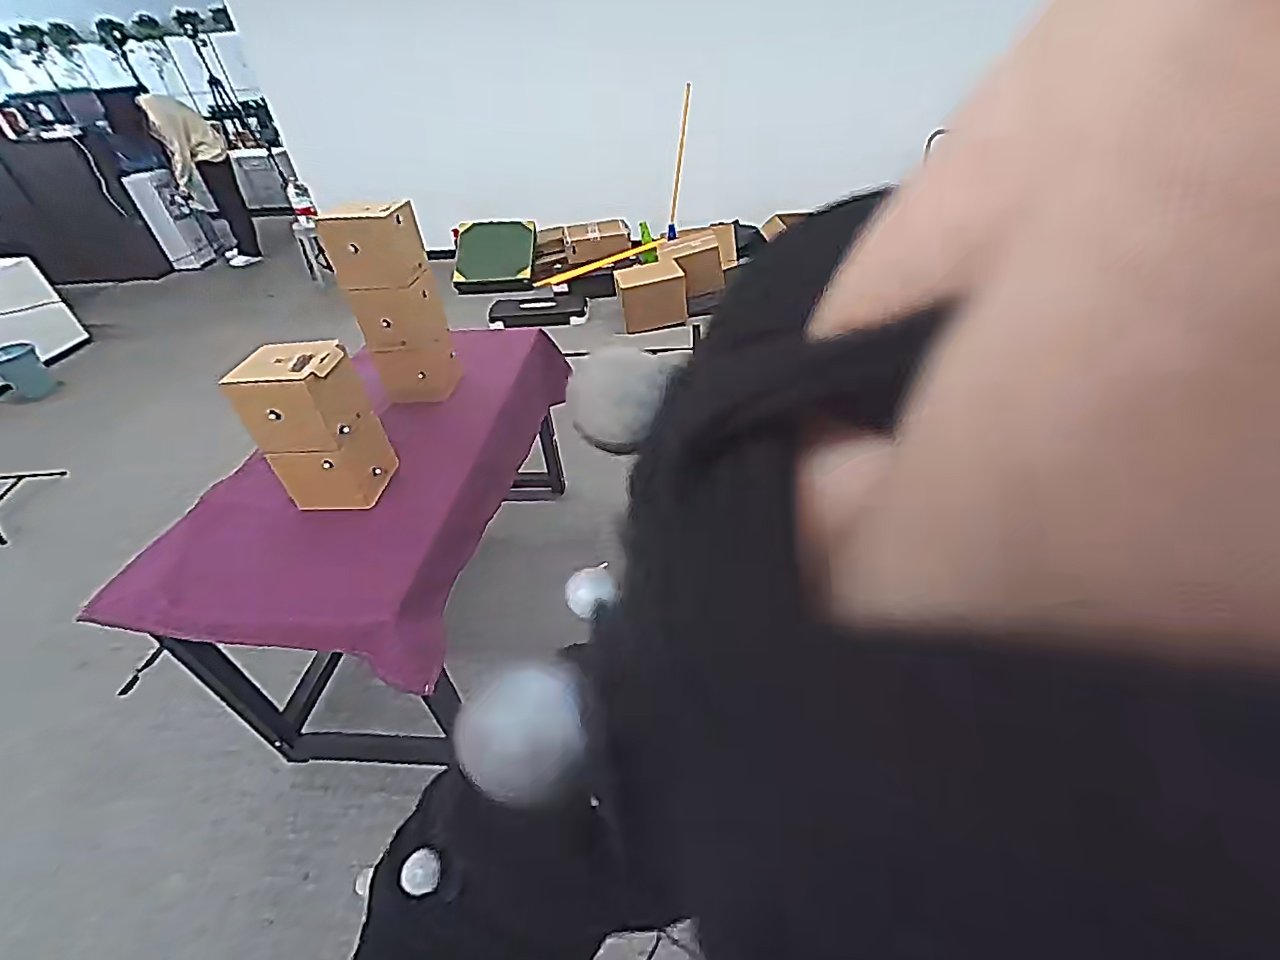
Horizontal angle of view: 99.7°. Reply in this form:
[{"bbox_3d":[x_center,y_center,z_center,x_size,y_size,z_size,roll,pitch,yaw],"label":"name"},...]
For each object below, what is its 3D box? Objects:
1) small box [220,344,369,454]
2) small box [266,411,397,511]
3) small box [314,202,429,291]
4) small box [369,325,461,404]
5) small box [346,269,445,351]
[{"bbox_3d":[-0.704,-0.167,1.130,0.179,0.176,0.168,-2,40,3],"label":"small box"},{"bbox_3d":[-0.692,-0.042,1.237,0.179,0.176,0.168,-1,40,4],"label":"small box"},{"bbox_3d":[-0.667,-0.587,1.366,0.179,0.176,0.168,-1,40,5],"label":"small box"},{"bbox_3d":[-0.642,-0.335,1.574,0.179,0.176,0.168,-1,40,5],"label":"small box"},{"bbox_3d":[-0.651,-0.459,1.467,0.168,0.176,0.179,-1,40,4],"label":"small box"}]
